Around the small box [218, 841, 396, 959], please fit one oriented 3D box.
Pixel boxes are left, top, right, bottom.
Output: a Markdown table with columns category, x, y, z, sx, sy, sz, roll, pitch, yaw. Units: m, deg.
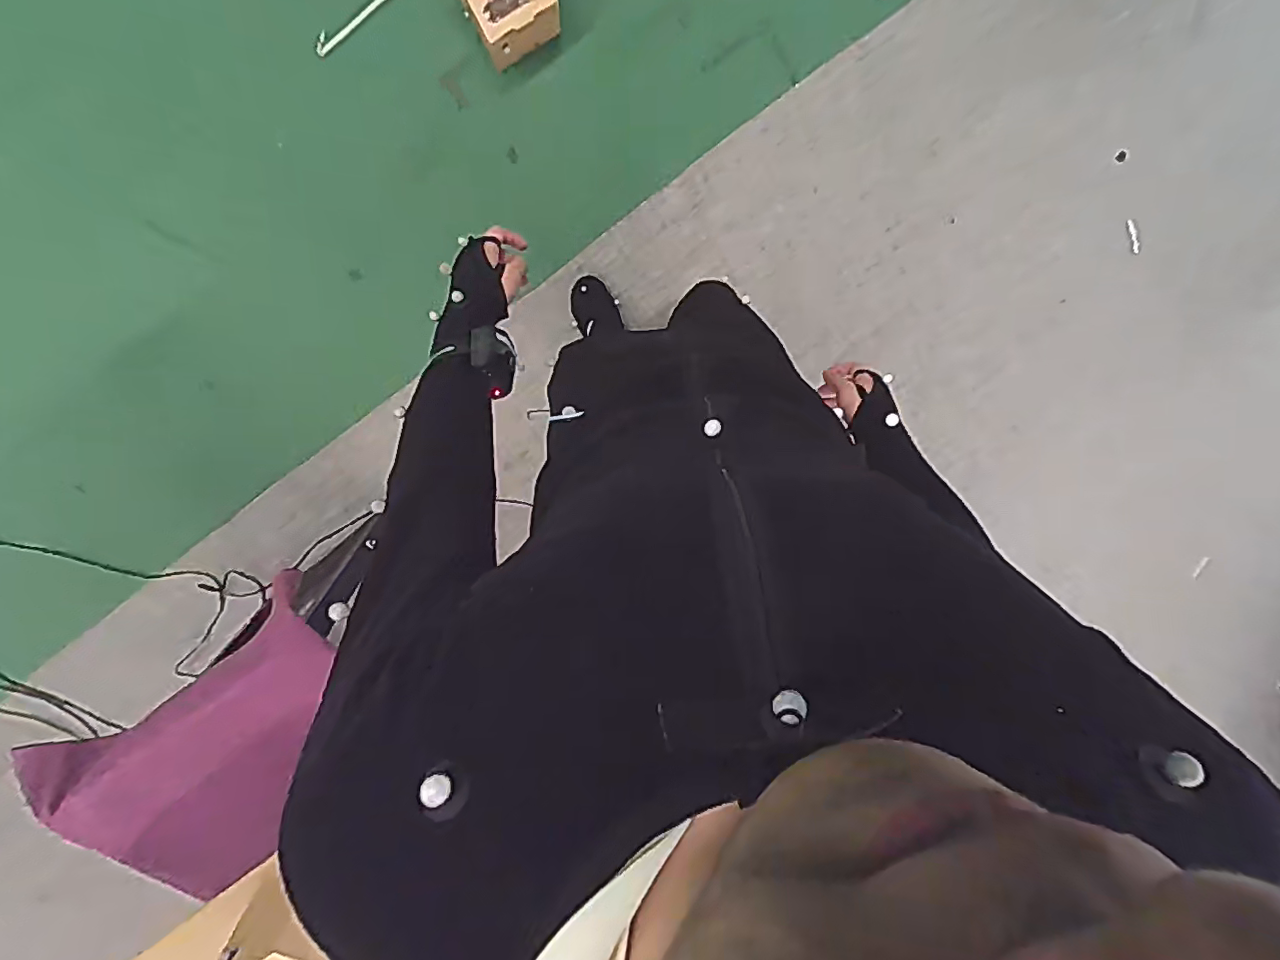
| category | x | y | z | sx | sy | sz | roll | pitch | yaw |
| --- | --- | --- | --- | --- | --- | --- | --- | --- | --- |
| small box | -0.519 | 0.719 | 0.842 | 0.179 | 0.176 | 0.168 | -37 | 110 | 7 |
